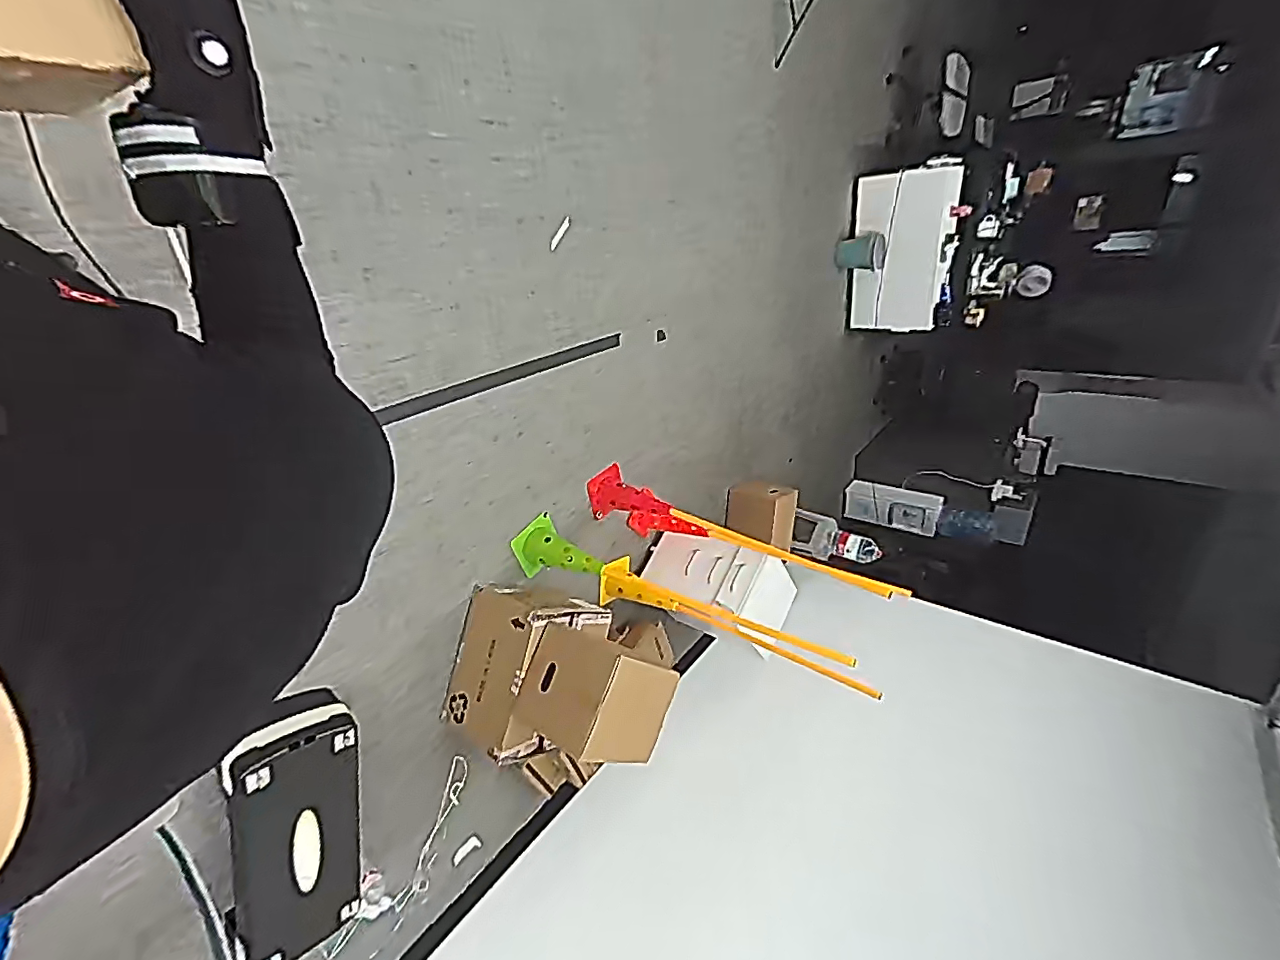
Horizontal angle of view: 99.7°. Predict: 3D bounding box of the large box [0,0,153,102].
[{"bbox_3d":[-0.560,-0.385,0.237,0.408,0.320,0.320,-29,130,-43],"label":"large box"}]
